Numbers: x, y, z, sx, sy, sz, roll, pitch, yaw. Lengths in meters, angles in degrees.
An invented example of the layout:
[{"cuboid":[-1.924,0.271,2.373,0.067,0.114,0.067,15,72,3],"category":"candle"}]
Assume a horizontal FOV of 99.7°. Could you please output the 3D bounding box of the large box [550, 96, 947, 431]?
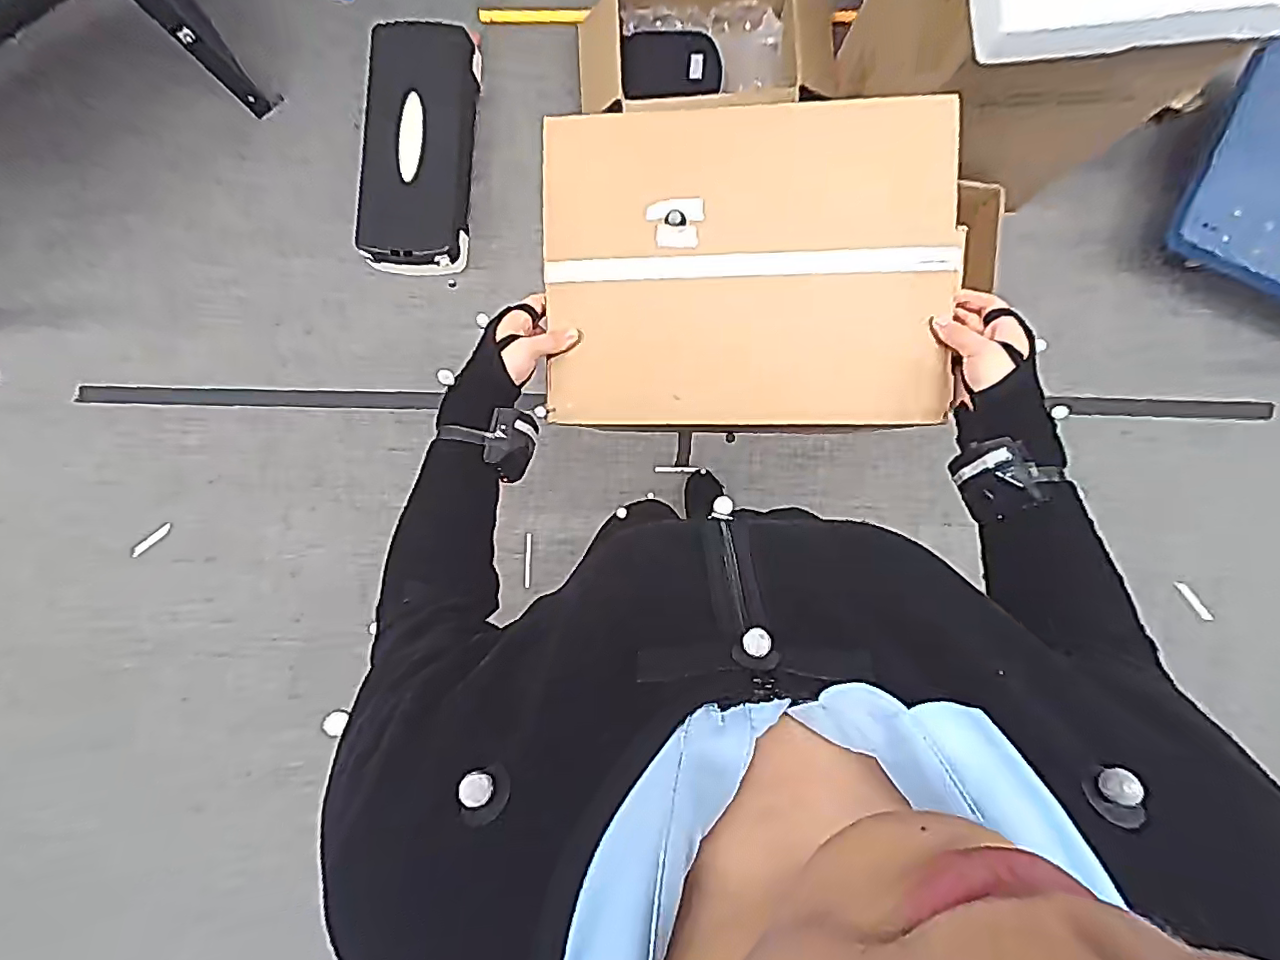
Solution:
[{"cuboid":[0.123,-0.225,0.701,0.408,0.320,0.320,0,92,7],"category":"large box"}]
